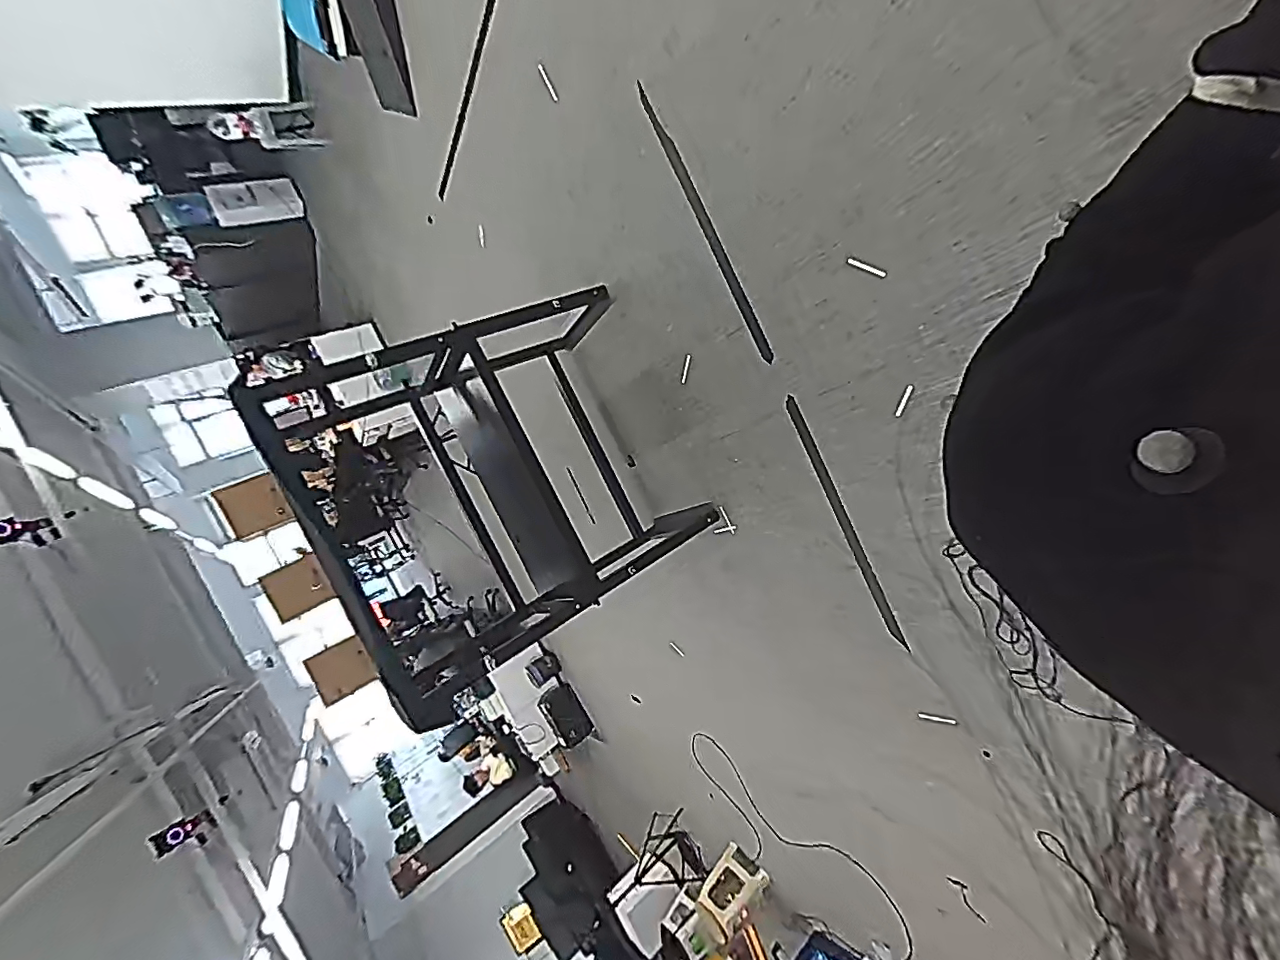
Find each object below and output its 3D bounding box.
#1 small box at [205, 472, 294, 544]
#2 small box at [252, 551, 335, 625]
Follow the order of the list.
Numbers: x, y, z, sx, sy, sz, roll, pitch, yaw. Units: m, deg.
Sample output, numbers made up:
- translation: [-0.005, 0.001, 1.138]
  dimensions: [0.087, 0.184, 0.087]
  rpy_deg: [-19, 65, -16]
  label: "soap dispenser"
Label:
- translation: [-1.220, 0.086, 1.703]
  dimensions: [0.179, 0.176, 0.168]
  rpy_deg: [-18, 100, 59]
  label: "small box"
- translation: [-1.088, 0.337, 1.713]
  dimensions: [0.179, 0.176, 0.168]
  rpy_deg: [-16, 101, 59]
  label: "small box"
